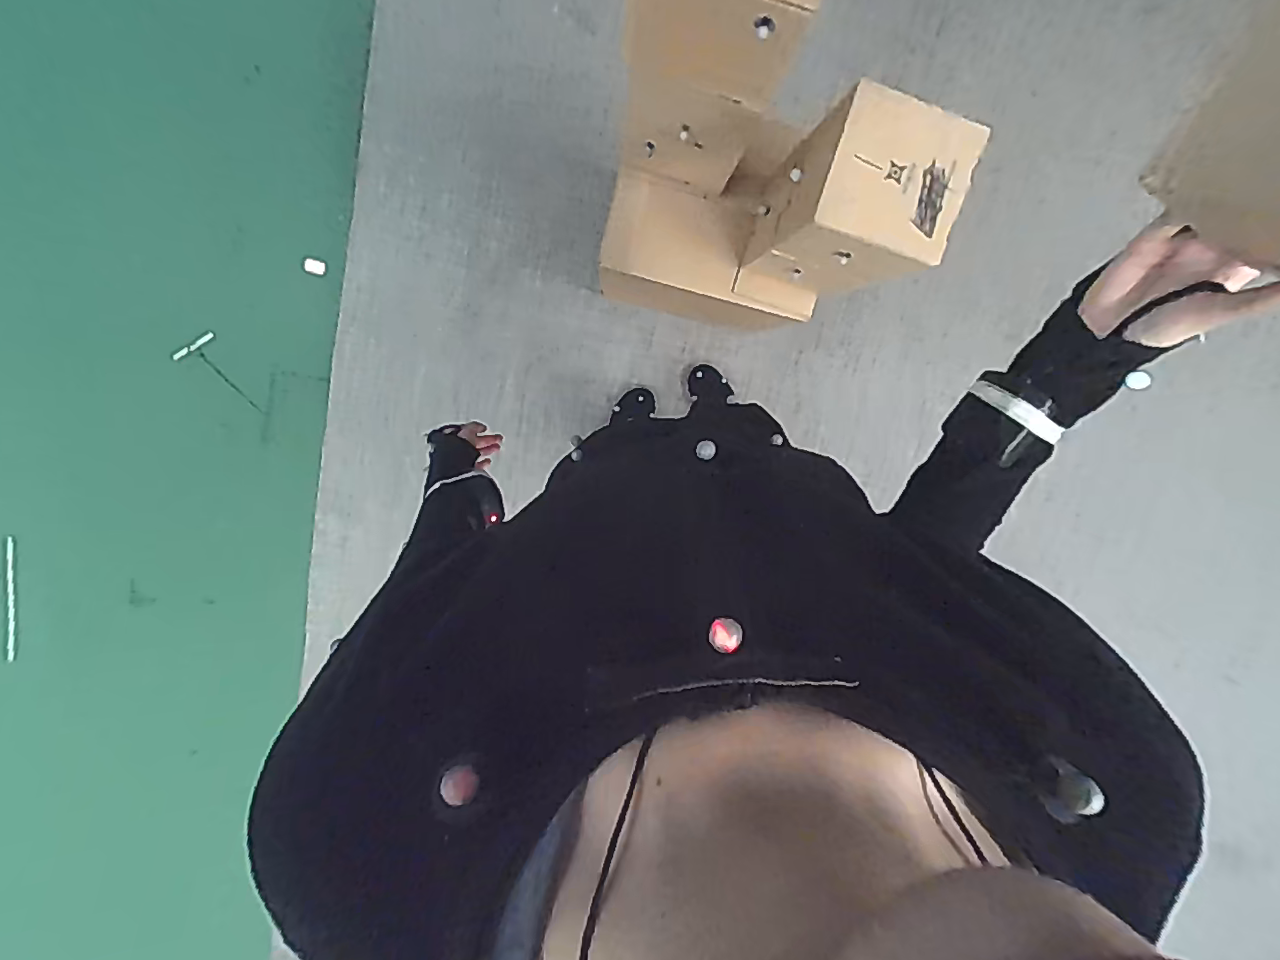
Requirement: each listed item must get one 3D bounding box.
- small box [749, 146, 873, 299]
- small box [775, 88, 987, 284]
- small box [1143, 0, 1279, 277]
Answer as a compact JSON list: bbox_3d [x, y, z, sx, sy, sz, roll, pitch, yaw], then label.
[{"bbox_3d":[0.296,-0.409,0.893,0.179,0.176,0.168,16,102,-5],"label":"small box"},{"bbox_3d":[0.309,-0.377,0.733,0.179,0.176,0.168,16,100,-6],"label":"small box"},{"bbox_3d":[0.367,-0.156,0.206,0.176,0.179,0.168,4,126,-29],"label":"small box"}]
